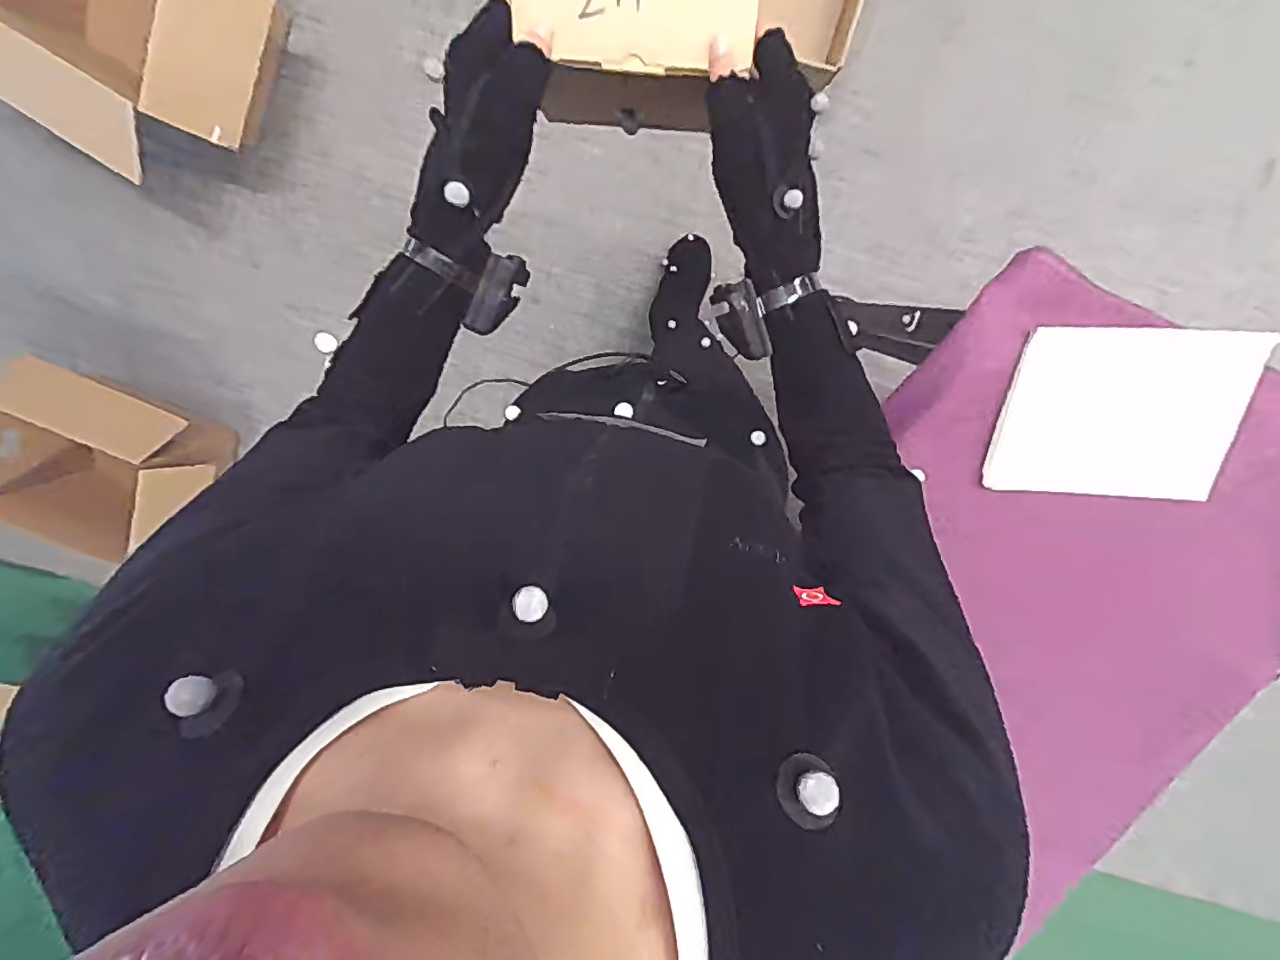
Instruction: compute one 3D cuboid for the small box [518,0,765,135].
[{"bbox_3d":[0.002,-0.392,0.414,0.168,0.176,0.179,3,111,-3],"label":"small box"}]
